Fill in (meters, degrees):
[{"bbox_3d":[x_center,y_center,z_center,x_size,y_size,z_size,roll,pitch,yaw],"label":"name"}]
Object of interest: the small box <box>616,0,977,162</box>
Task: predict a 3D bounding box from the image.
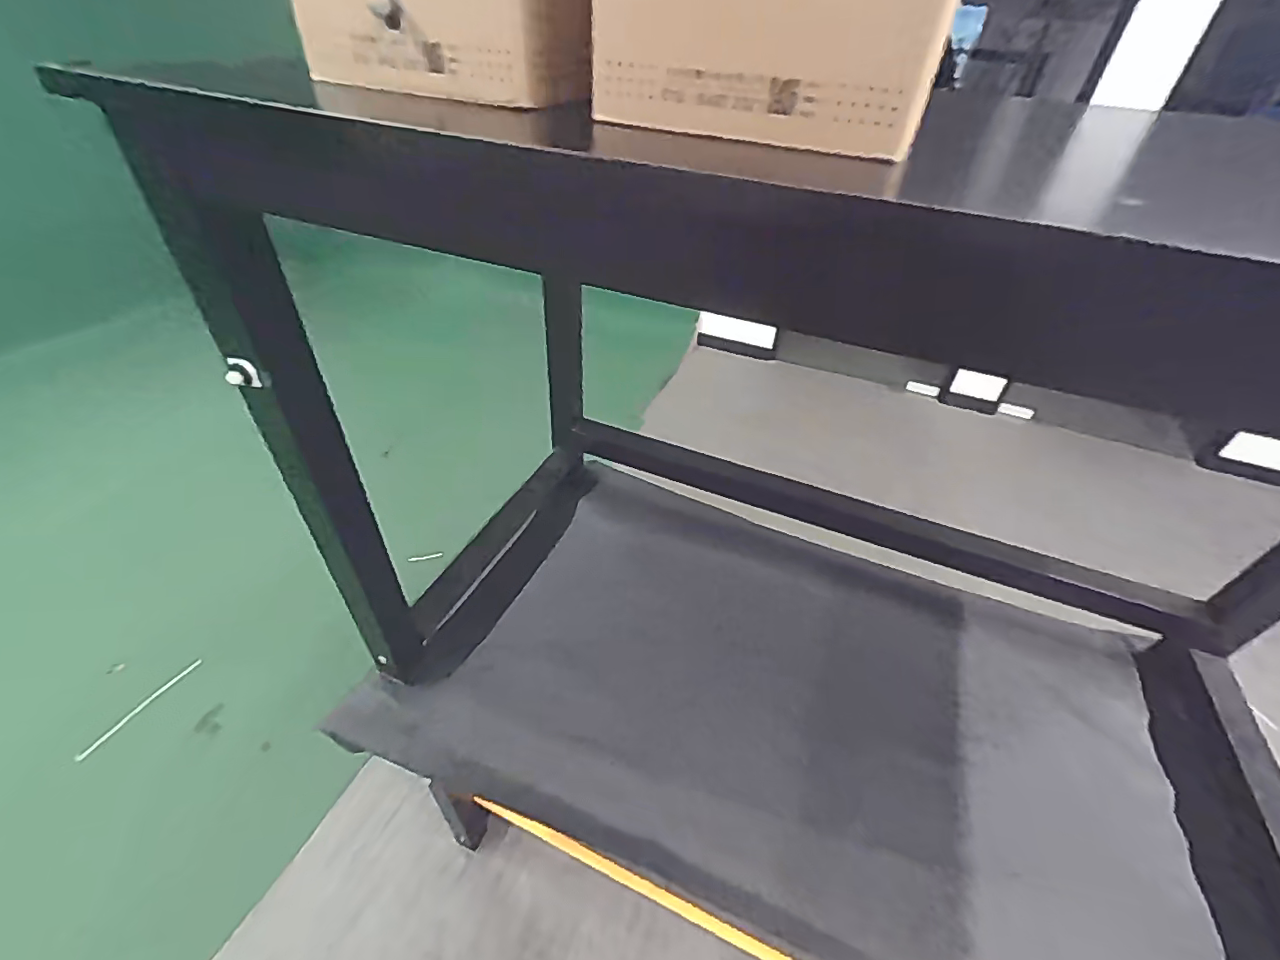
[{"bbox_3d":[0.094,-0.280,0.282,0.168,0.176,0.179,19,43,16],"label":"small box"}]
